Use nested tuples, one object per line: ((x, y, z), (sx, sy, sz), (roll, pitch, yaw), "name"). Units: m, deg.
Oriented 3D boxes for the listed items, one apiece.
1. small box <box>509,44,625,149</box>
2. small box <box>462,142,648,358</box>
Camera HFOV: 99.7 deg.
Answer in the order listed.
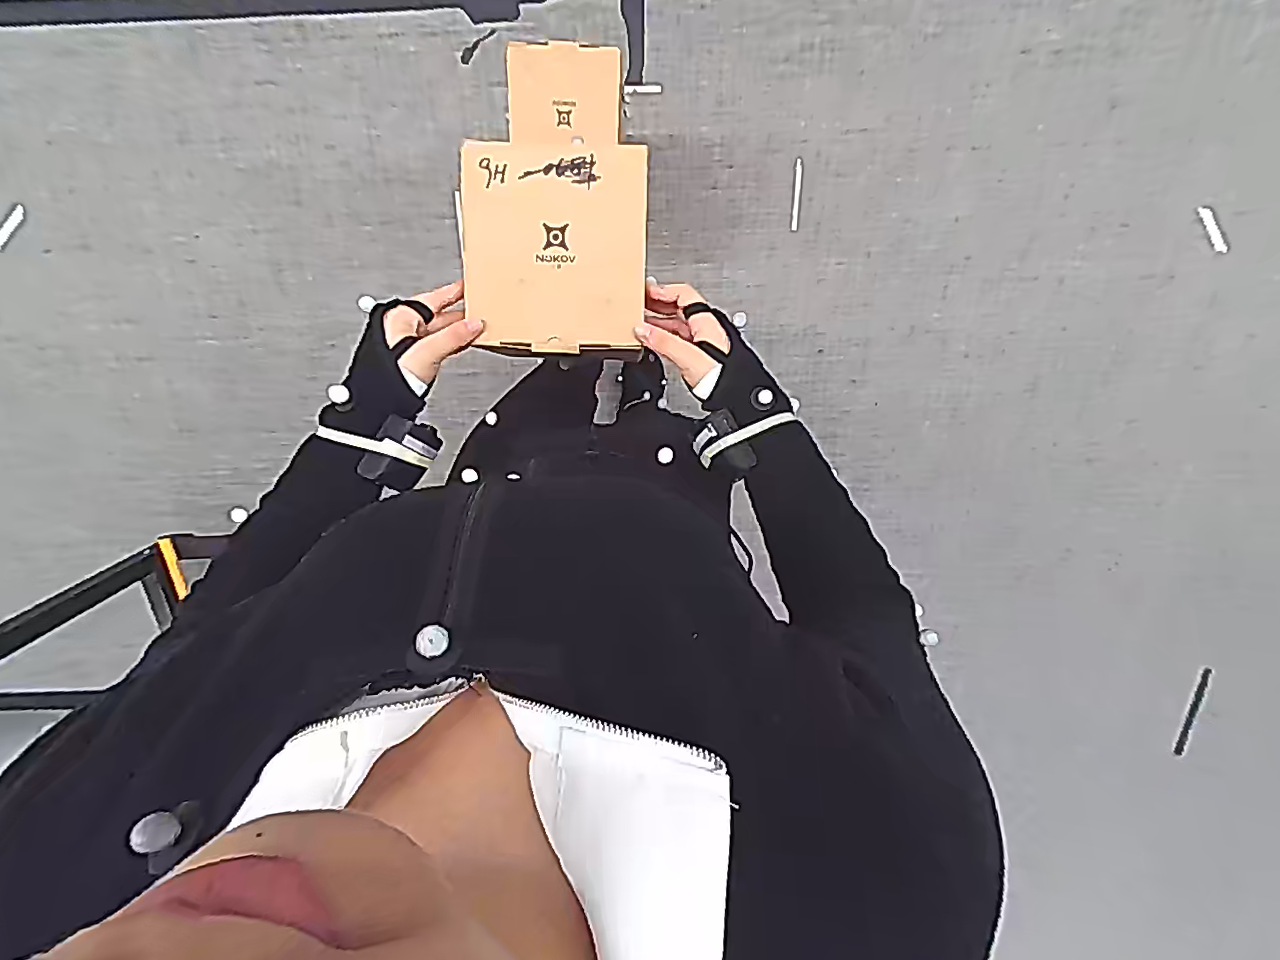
((-0.111, -0.563, 0.873), (0.168, 0.176, 0.179), (2, 111, -1), "small box")
((-0.077, -0.221, 0.564), (0.168, 0.176, 0.179), (2, 100, -1), "small box")
